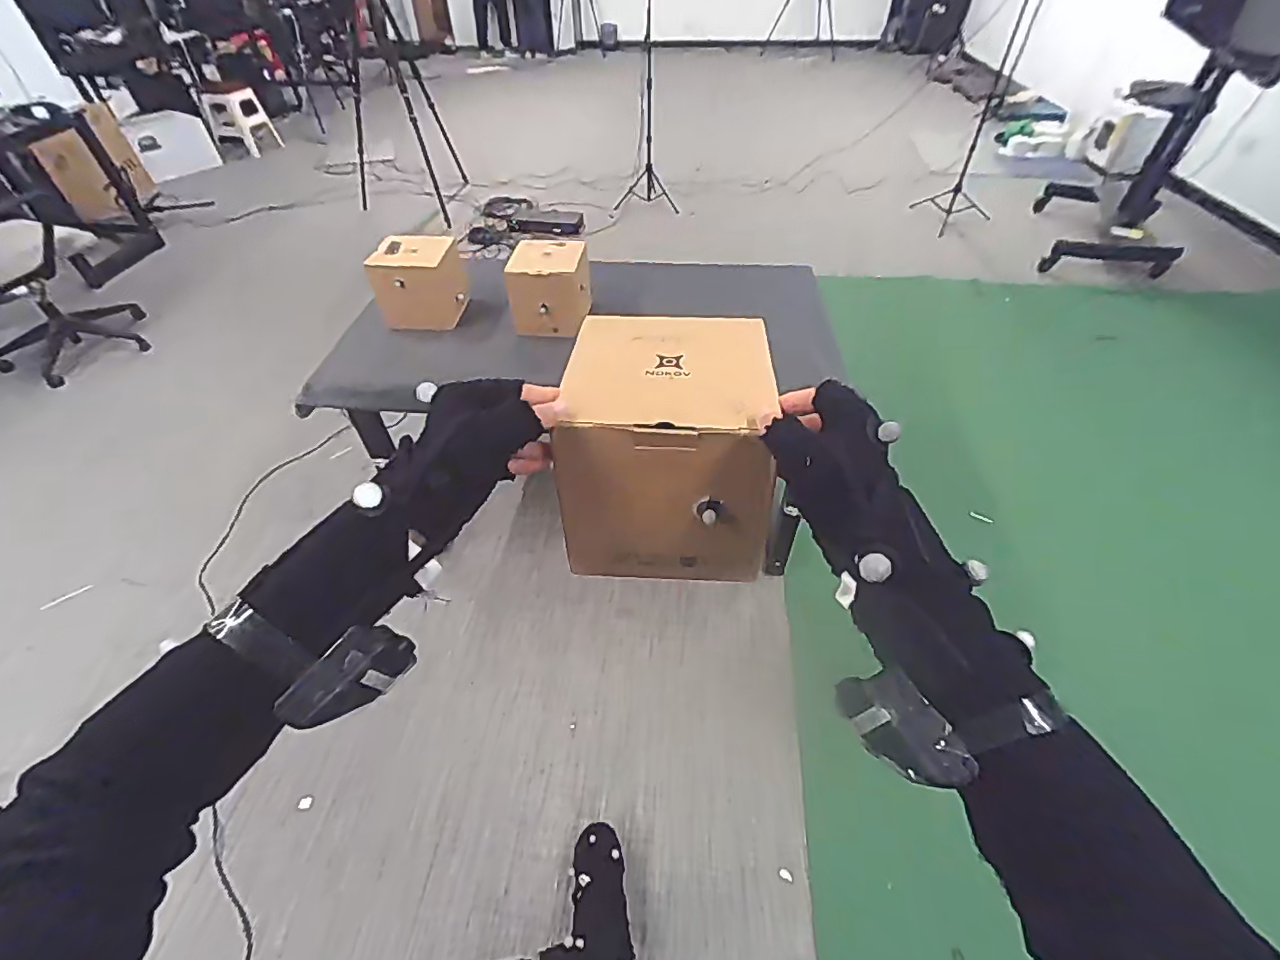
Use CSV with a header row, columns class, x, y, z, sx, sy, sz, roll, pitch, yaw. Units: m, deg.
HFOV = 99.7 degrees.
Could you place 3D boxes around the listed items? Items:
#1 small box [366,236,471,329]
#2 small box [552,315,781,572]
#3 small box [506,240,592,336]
class,x,y,z,sx,sy,sz,roll,pitch,yaw
small box,-0.545,-0.495,1.358,0.179,0.176,0.168,2,47,1
small box,0.026,-0.035,0.491,0.168,0.176,0.179,3,40,3
small box,-0.215,-0.472,1.333,0.168,0.176,0.179,3,47,4
